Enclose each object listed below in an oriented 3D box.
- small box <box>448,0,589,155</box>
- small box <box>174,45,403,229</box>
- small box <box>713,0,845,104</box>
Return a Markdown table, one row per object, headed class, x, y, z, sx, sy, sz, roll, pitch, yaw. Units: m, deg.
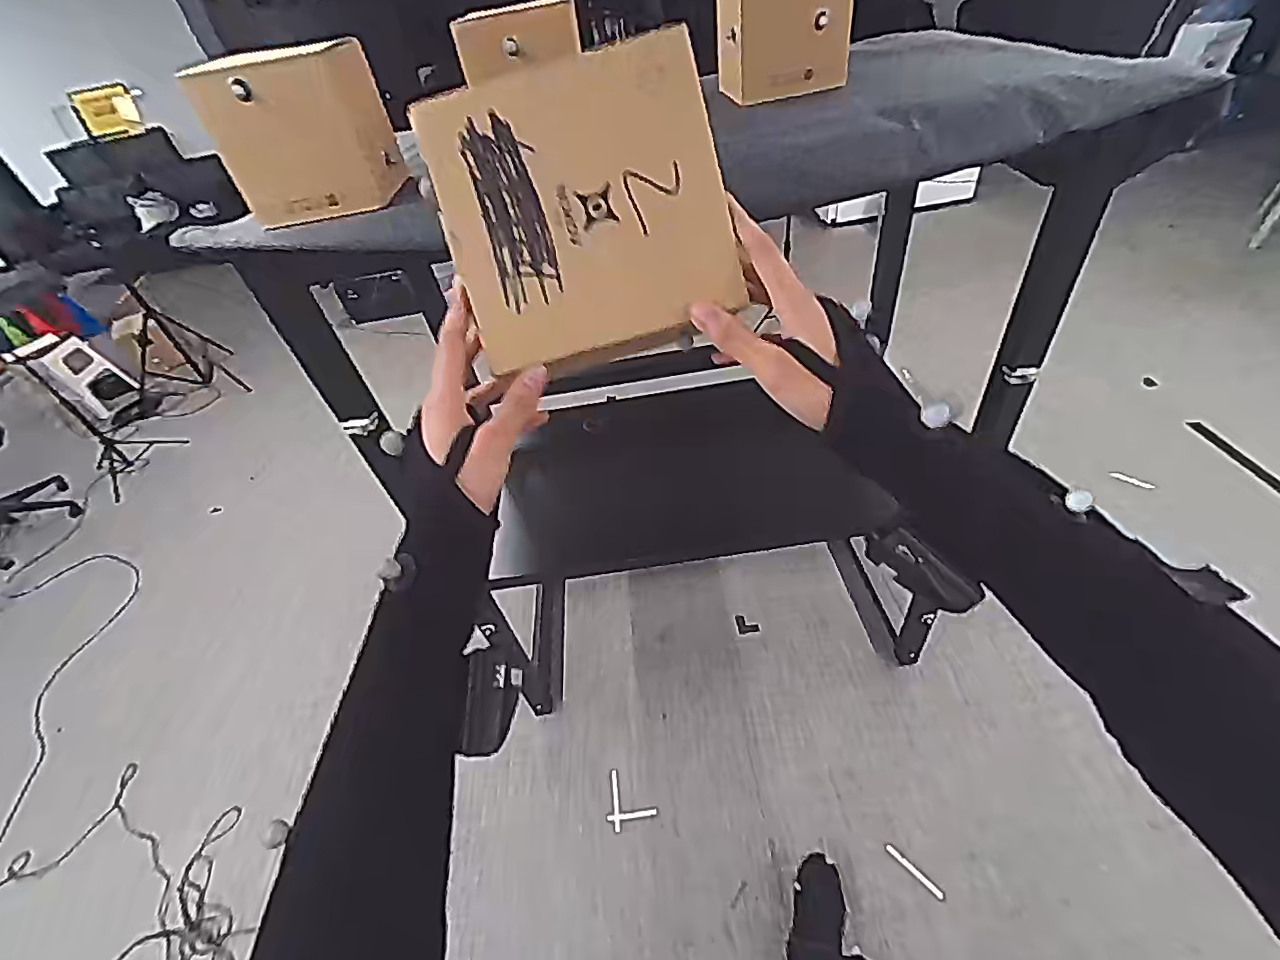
| class | x | y | z | sx | sy | sz | roll | pitch | yaw |
| --- | --- | --- | --- | --- | --- | --- | --- | --- | --- |
| small box | -0.181 | -0.650 | 0.873 | 0.179 | 0.176 | 0.168 | -9 | 44 | 3 |
| small box | -0.436 | -0.450 | 0.712 | 0.168 | 0.176 | 0.179 | -11 | 43 | 0 |
| small box | 0.215 | -0.714 | 0.854 | 0.168 | 0.176 | 0.179 | -10 | 44 | 1 |
